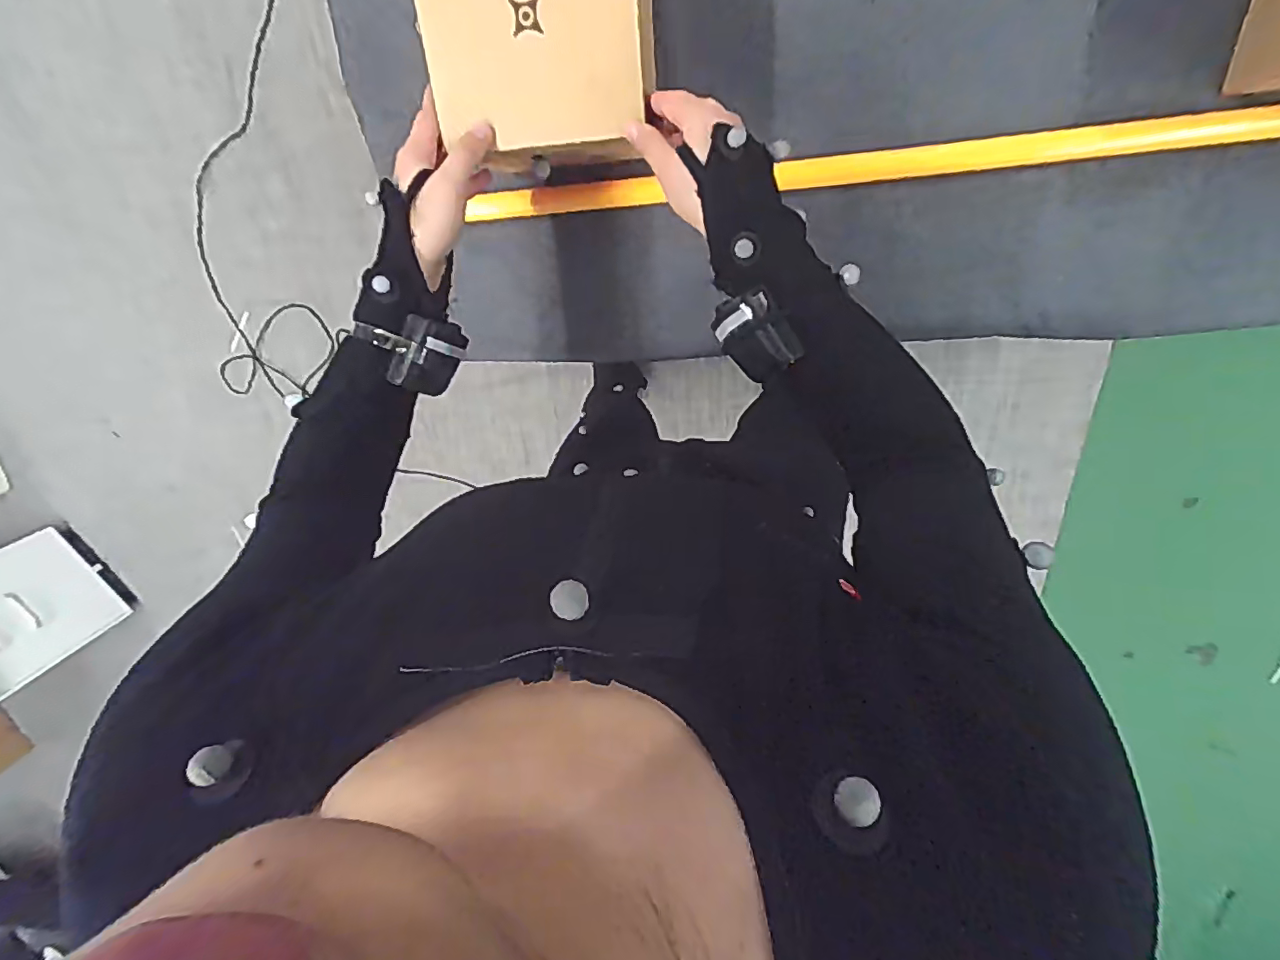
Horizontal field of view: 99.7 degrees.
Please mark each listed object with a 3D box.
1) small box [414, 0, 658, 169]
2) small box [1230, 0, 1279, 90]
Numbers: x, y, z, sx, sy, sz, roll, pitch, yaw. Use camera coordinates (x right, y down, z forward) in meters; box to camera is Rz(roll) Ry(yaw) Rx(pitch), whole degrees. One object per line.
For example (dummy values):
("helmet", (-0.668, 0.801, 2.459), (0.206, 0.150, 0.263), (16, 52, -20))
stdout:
("small box", (-0.075, -0.374, 0.463), (0.168, 0.176, 0.179), (-2, 115, 7))
("small box", (0.577, -0.380, 0.362), (0.168, 0.176, 0.179), (2, 116, 8))
